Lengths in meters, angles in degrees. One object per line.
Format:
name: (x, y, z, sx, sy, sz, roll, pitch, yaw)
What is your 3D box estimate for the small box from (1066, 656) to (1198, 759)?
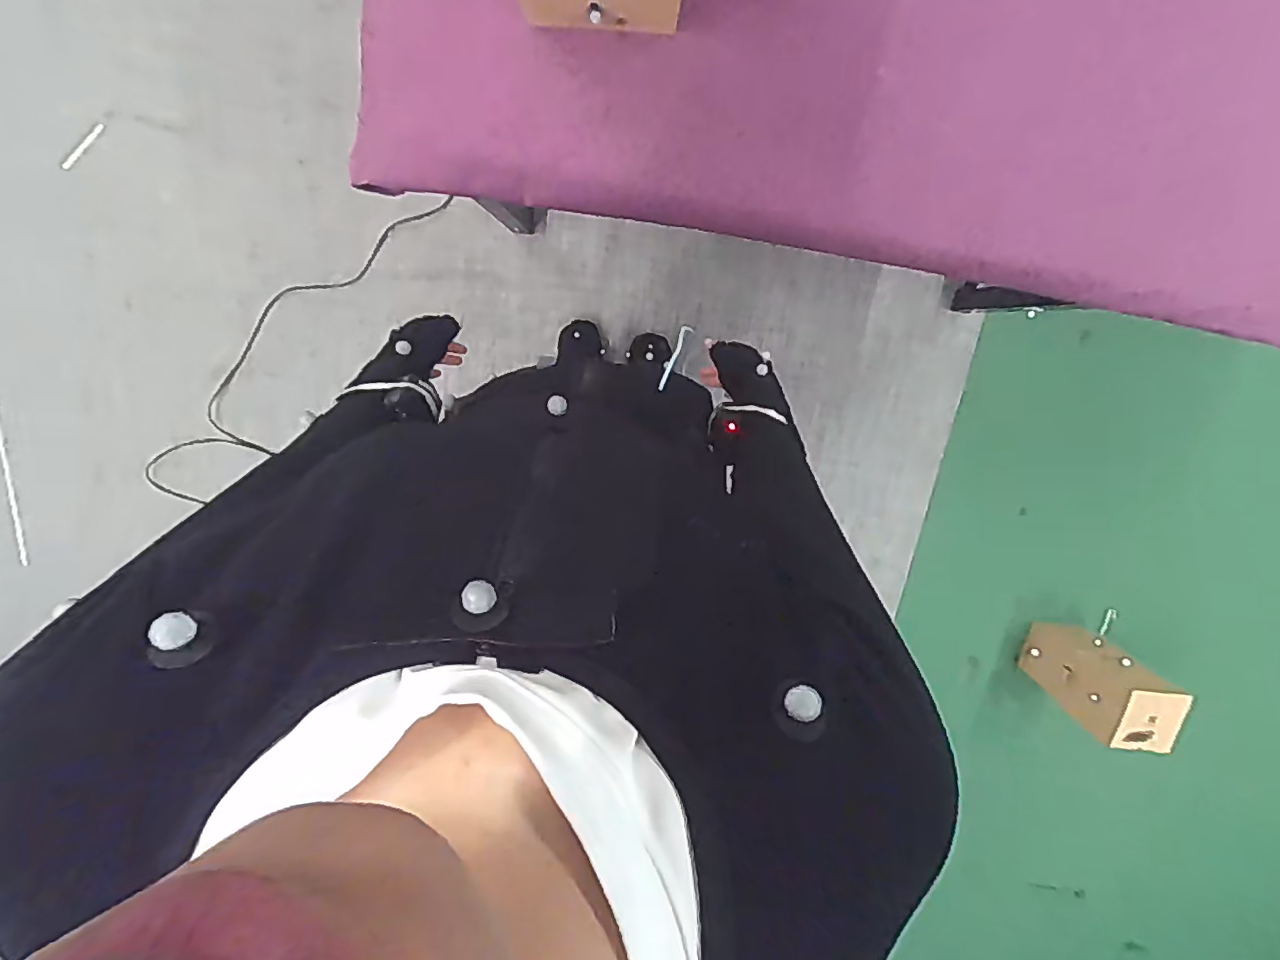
small box: (1.283, 0.597, 1.428, 0.168, 0.176, 0.179, 9, 107, -6)

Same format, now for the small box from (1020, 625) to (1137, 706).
small box: (1.276, 0.545, 1.587, 0.179, 0.176, 0.168, 7, 105, -3)
